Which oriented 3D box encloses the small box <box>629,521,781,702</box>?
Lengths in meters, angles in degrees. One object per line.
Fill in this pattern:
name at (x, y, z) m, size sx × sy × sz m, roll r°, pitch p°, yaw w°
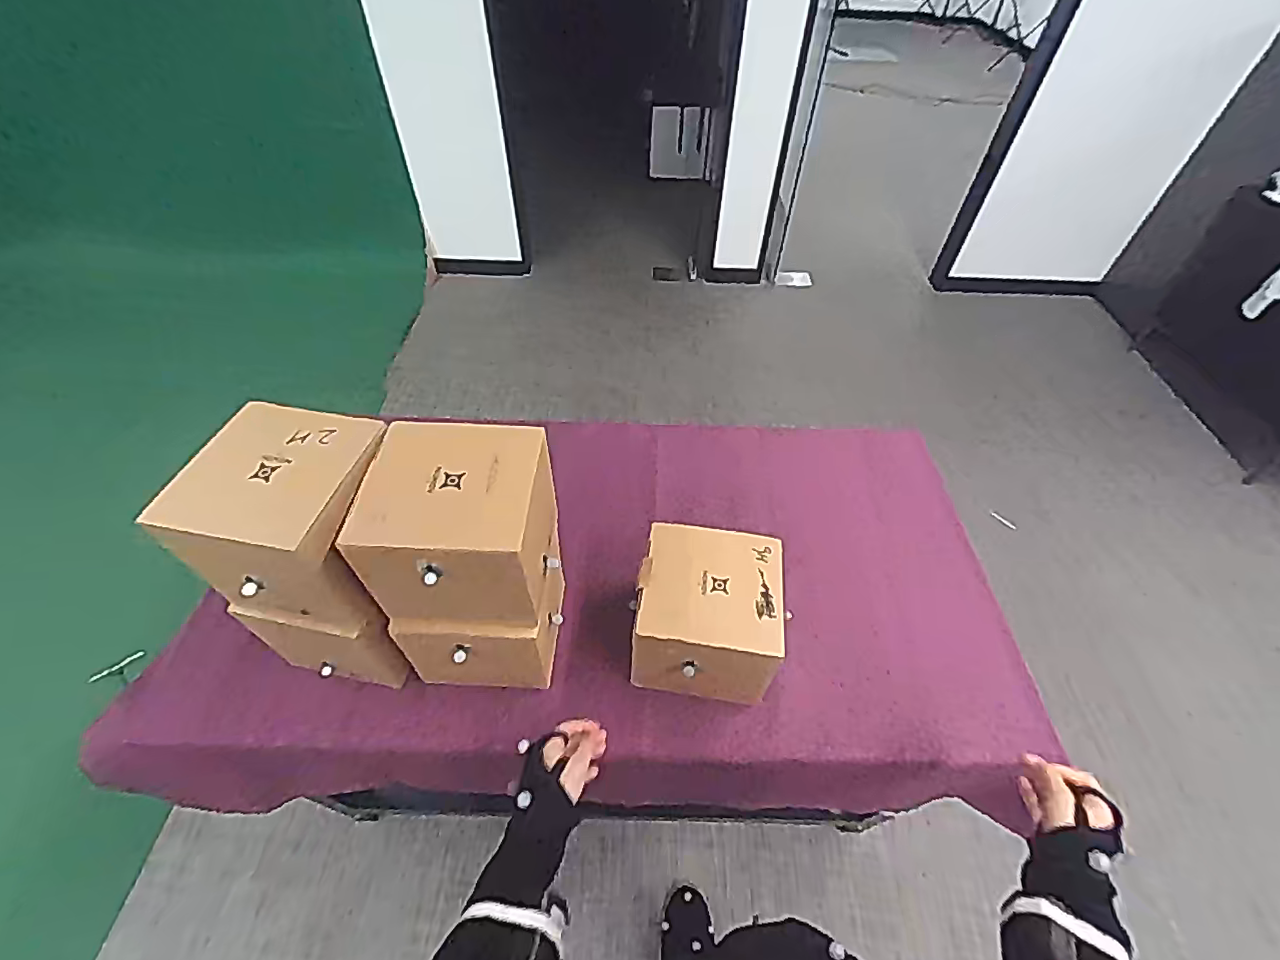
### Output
small box at (0.084, 0.179, 0.723) m, size 0.179 × 0.176 × 0.168 m, roll 8°, pitch 49°, yaw 5°
